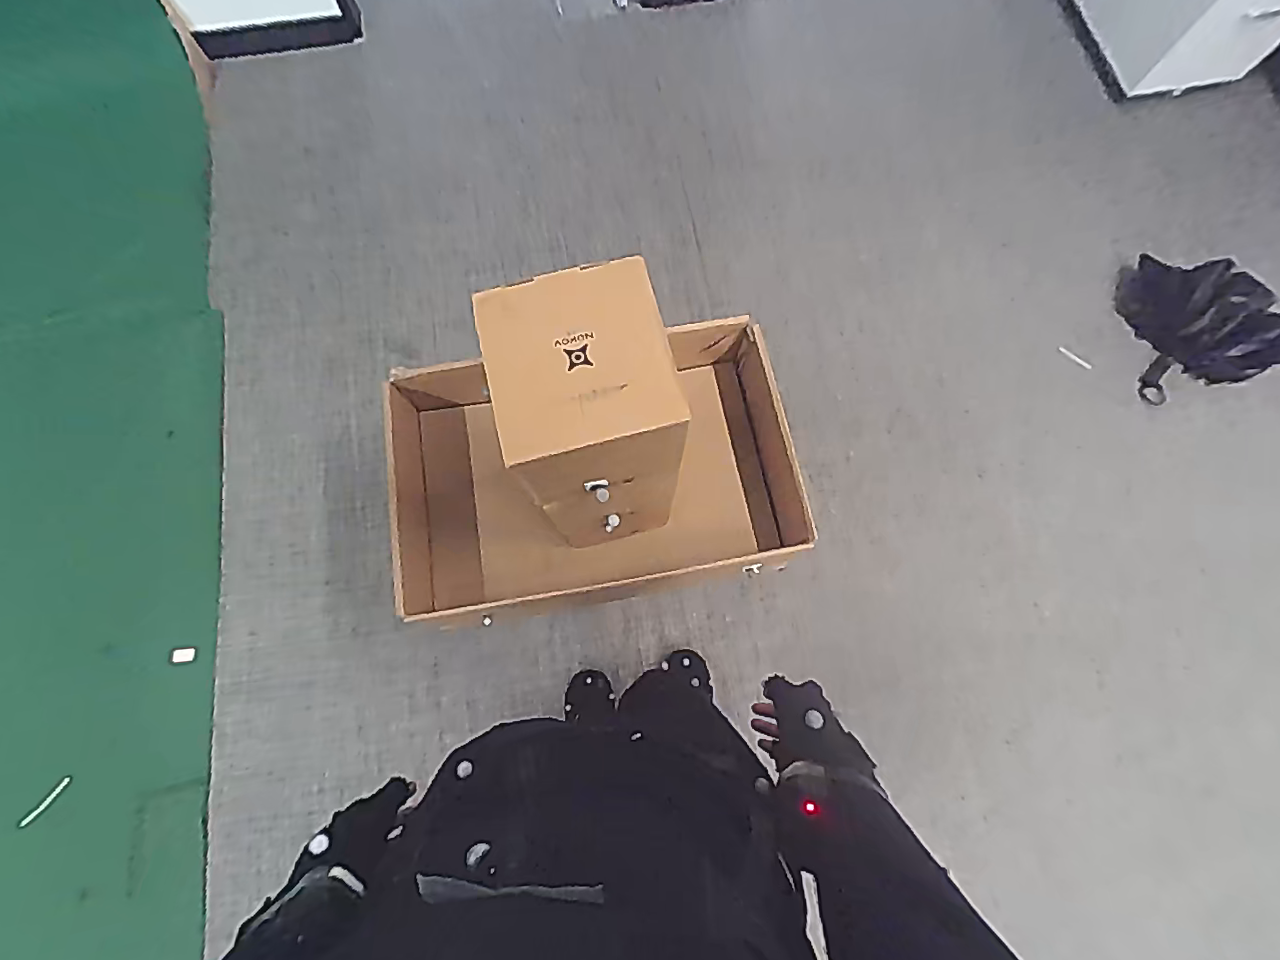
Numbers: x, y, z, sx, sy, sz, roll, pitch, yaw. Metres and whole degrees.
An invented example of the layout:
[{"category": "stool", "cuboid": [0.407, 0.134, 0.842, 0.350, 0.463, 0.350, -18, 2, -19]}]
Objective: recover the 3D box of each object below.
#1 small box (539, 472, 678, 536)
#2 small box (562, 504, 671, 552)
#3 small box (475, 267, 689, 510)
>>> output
[{"category": "small box", "cuboid": [-0.055, -0.039, 0.723, 0.168, 0.176, 0.179, -14, 74, -4]}, {"category": "small box", "cuboid": [-0.052, 0.003, 0.881, 0.168, 0.176, 0.179, -15, 73, -3]}, {"category": "small box", "cuboid": [-0.056, -0.084, 0.568, 0.168, 0.176, 0.179, -15, 75, -3]}]
